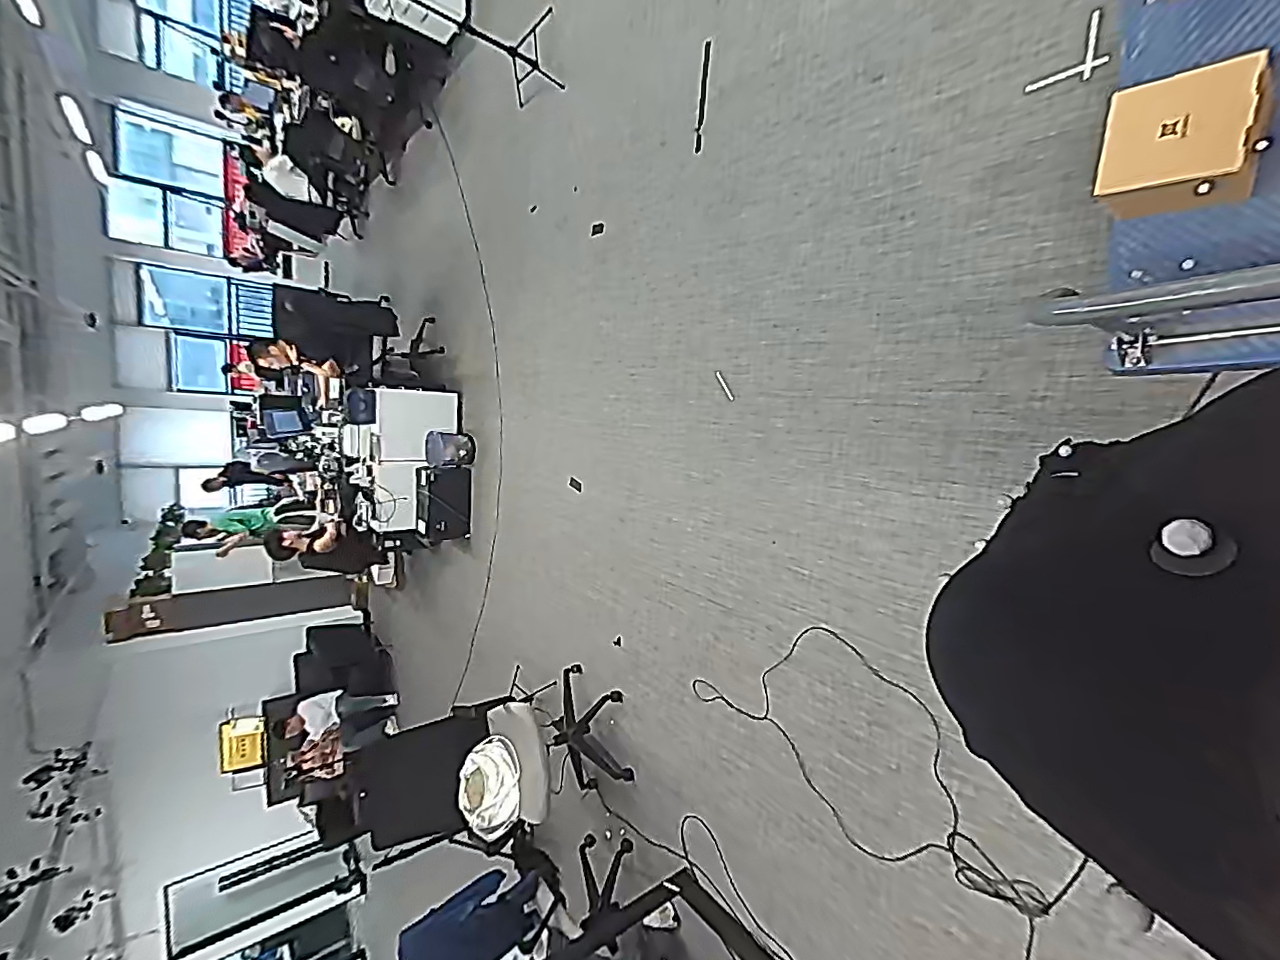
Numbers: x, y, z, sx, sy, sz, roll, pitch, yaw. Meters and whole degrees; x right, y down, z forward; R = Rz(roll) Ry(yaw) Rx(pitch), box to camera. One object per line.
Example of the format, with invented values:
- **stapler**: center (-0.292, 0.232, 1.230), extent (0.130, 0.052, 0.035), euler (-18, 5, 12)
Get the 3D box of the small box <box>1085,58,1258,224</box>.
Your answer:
- **small box**: center (0.896, -0.553, 0.914), extent (0.179, 0.176, 0.168), euler (14, 102, 48)
